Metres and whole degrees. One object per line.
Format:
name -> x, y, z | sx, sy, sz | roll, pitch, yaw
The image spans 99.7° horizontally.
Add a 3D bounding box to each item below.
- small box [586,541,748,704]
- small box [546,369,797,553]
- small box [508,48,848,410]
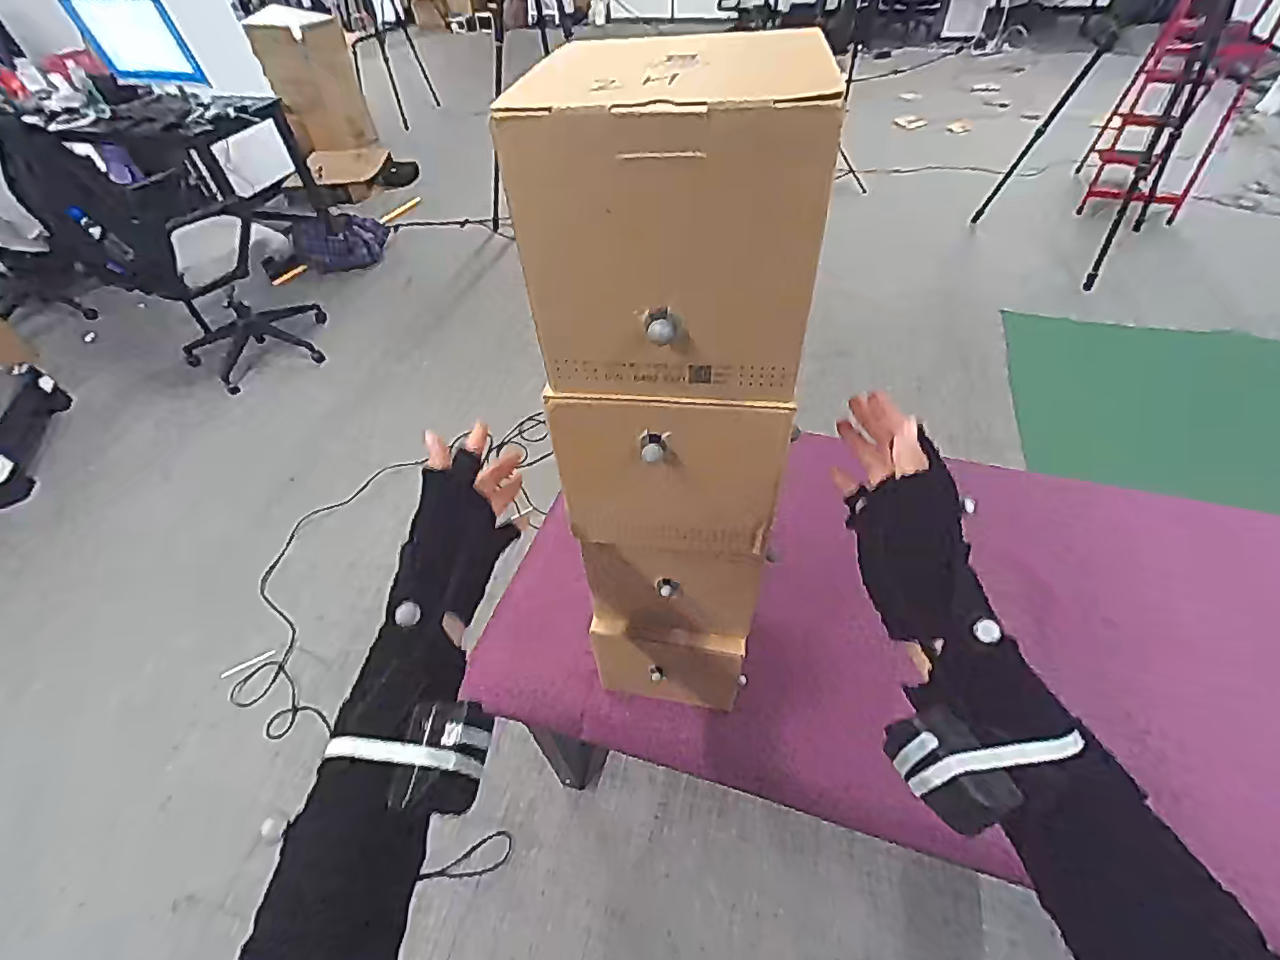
small box -> 0.040, 0.178, 0.714 | 0.179, 0.176, 0.168 | 7, 48, 9
small box -> 0.034, -0.051, 0.480 | 0.179, 0.176, 0.168 | 5, 48, 8
small box -> 0.031, -0.171, 0.366 | 0.168, 0.176, 0.179 | 5, 48, 9
